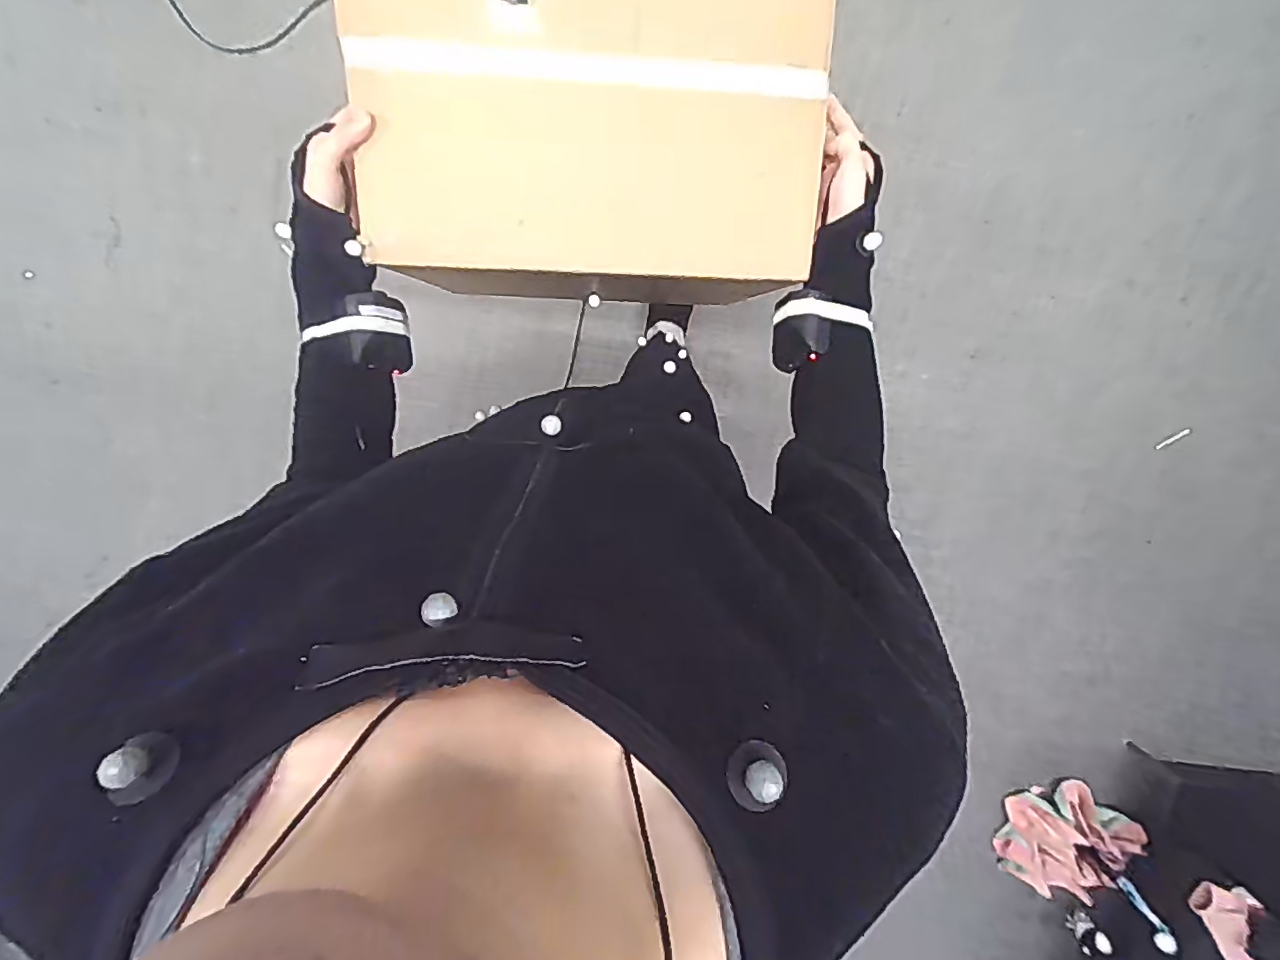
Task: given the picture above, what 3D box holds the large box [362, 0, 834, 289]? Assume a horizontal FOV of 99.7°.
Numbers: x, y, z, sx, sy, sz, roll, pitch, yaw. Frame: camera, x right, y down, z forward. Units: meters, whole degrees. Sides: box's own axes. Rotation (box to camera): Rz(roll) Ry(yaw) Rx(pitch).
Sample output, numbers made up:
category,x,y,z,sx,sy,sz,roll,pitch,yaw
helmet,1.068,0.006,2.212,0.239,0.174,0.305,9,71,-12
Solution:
category,x,y,z,sx,sy,sz,roll,pitch,yaw
large box,-0.041,-0.390,0.609,0.408,0.320,0.320,1,104,-5
